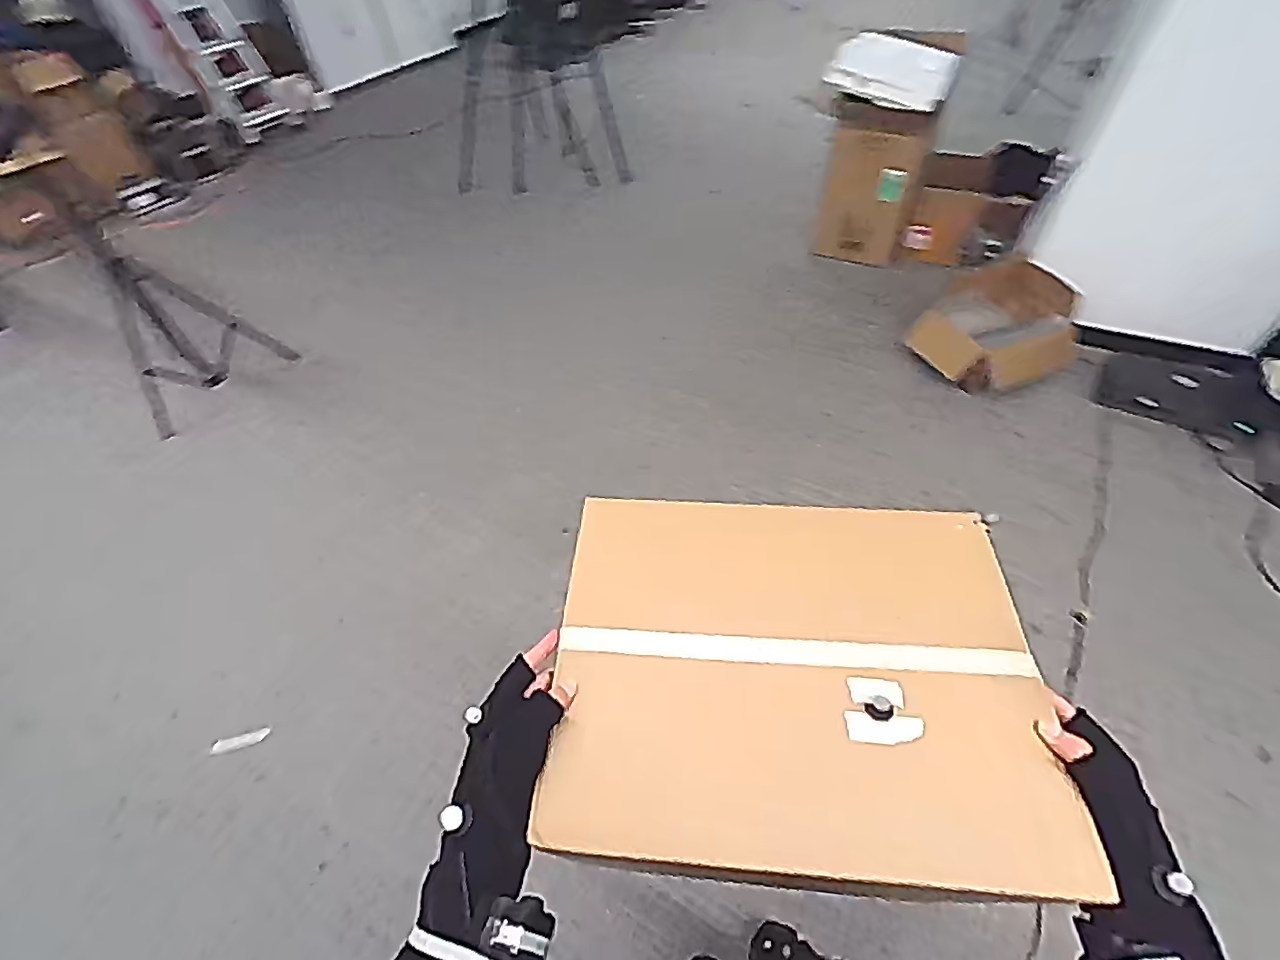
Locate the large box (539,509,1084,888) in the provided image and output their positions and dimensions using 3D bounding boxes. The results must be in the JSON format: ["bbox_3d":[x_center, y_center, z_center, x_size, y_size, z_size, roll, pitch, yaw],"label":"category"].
[{"bbox_3d":[0.132,0.246,0.602,0.408,0.320,0.320,1,52,4],"label":"large box"}]
